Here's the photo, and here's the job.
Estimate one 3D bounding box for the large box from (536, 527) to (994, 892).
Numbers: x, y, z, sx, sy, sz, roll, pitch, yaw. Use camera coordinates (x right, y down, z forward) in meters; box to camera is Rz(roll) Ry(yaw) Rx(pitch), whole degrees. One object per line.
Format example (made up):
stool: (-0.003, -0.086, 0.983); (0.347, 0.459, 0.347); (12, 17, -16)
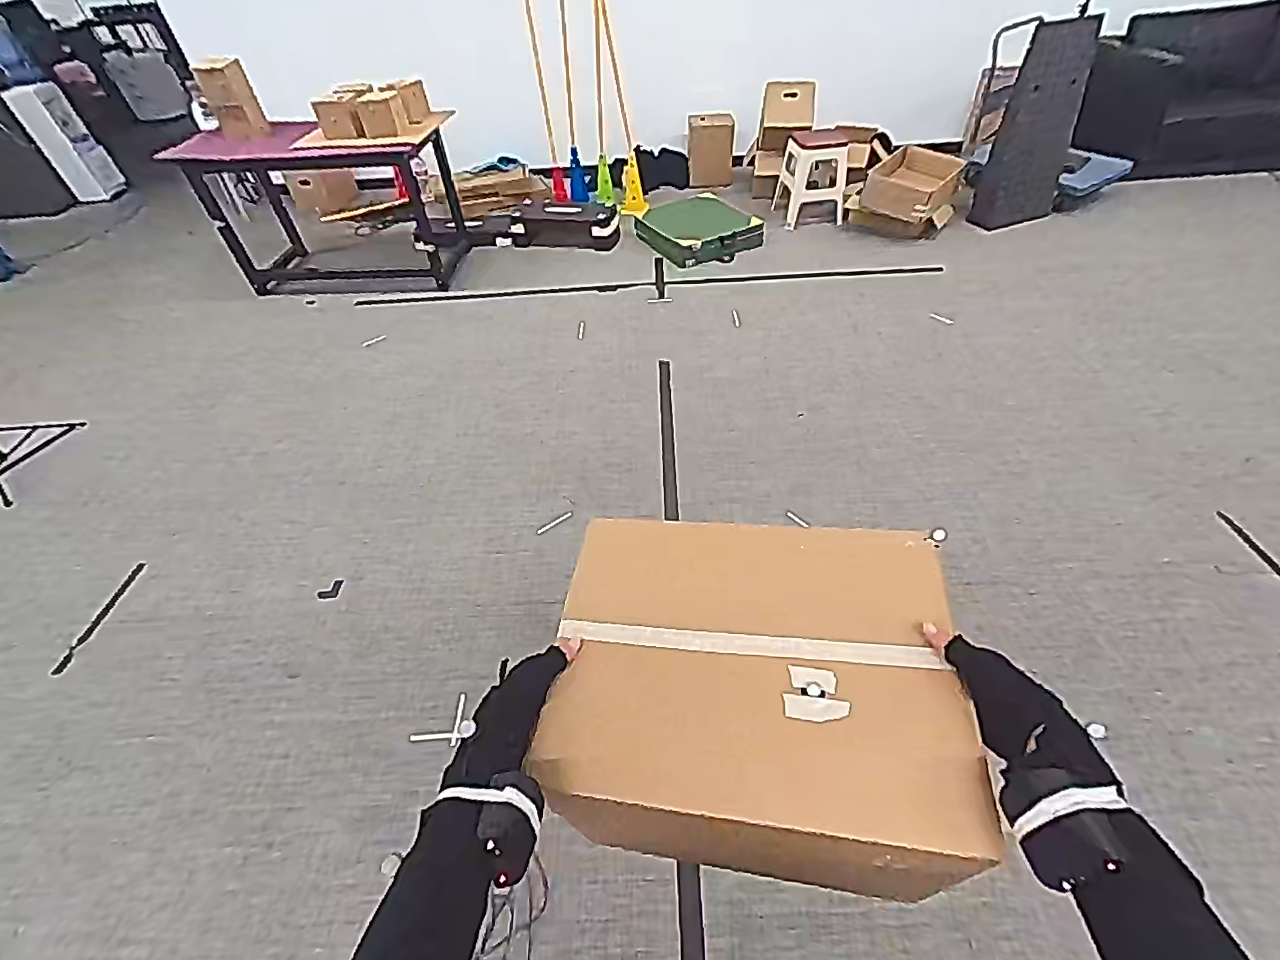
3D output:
large box: (0.135, 0.278, 0.677); (0.408, 0.320, 0.320); (2, 50, 13)
